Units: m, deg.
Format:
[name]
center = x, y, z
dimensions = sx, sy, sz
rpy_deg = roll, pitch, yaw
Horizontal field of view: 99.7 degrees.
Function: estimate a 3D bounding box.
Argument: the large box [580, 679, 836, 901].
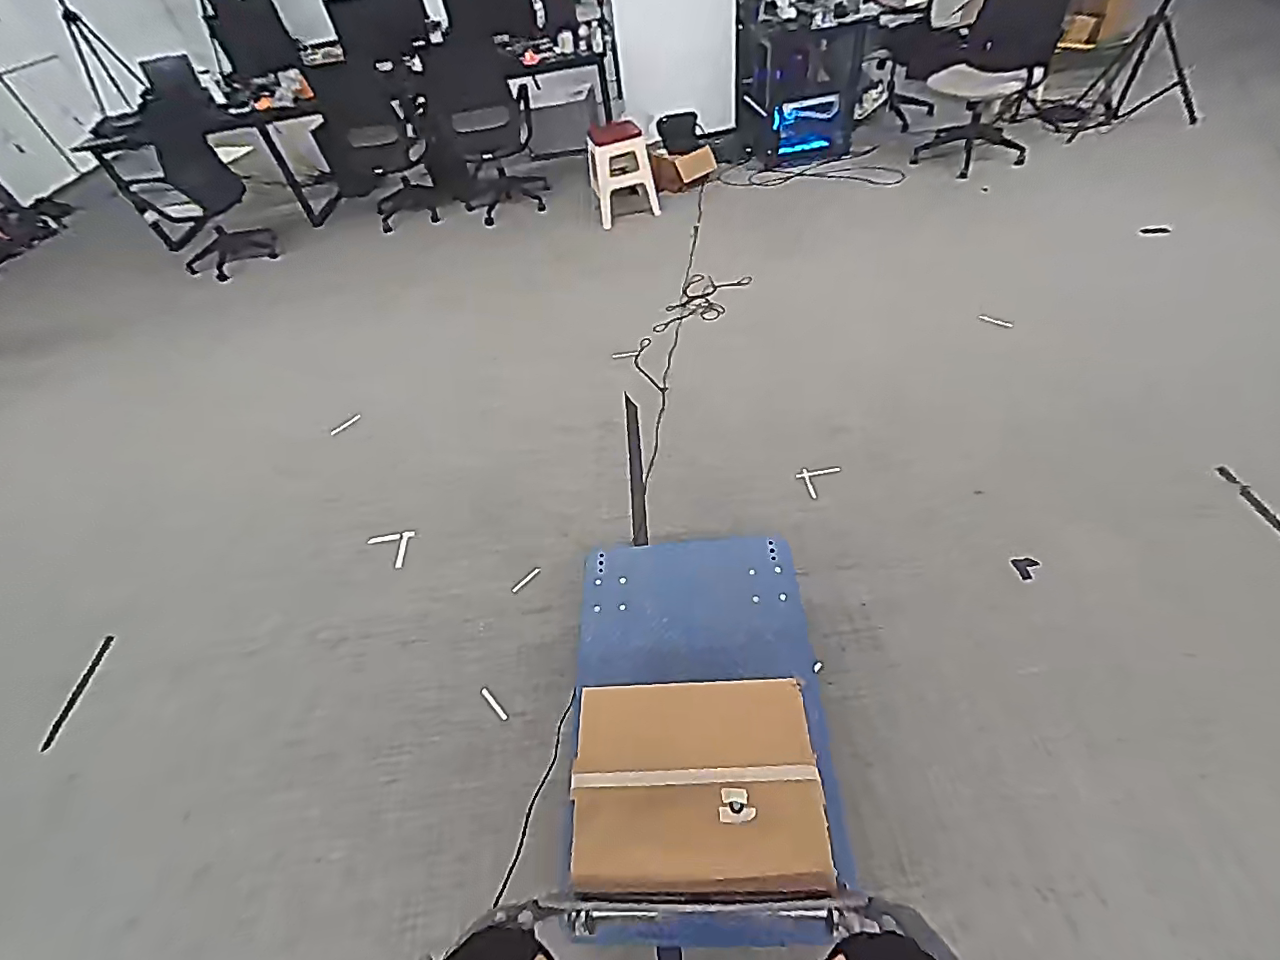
[large box]
center = 0.114, 0.600, 1.037
dimensions = 0.408, 0.320, 0.320
rpy_deg = -5, 51, 5
